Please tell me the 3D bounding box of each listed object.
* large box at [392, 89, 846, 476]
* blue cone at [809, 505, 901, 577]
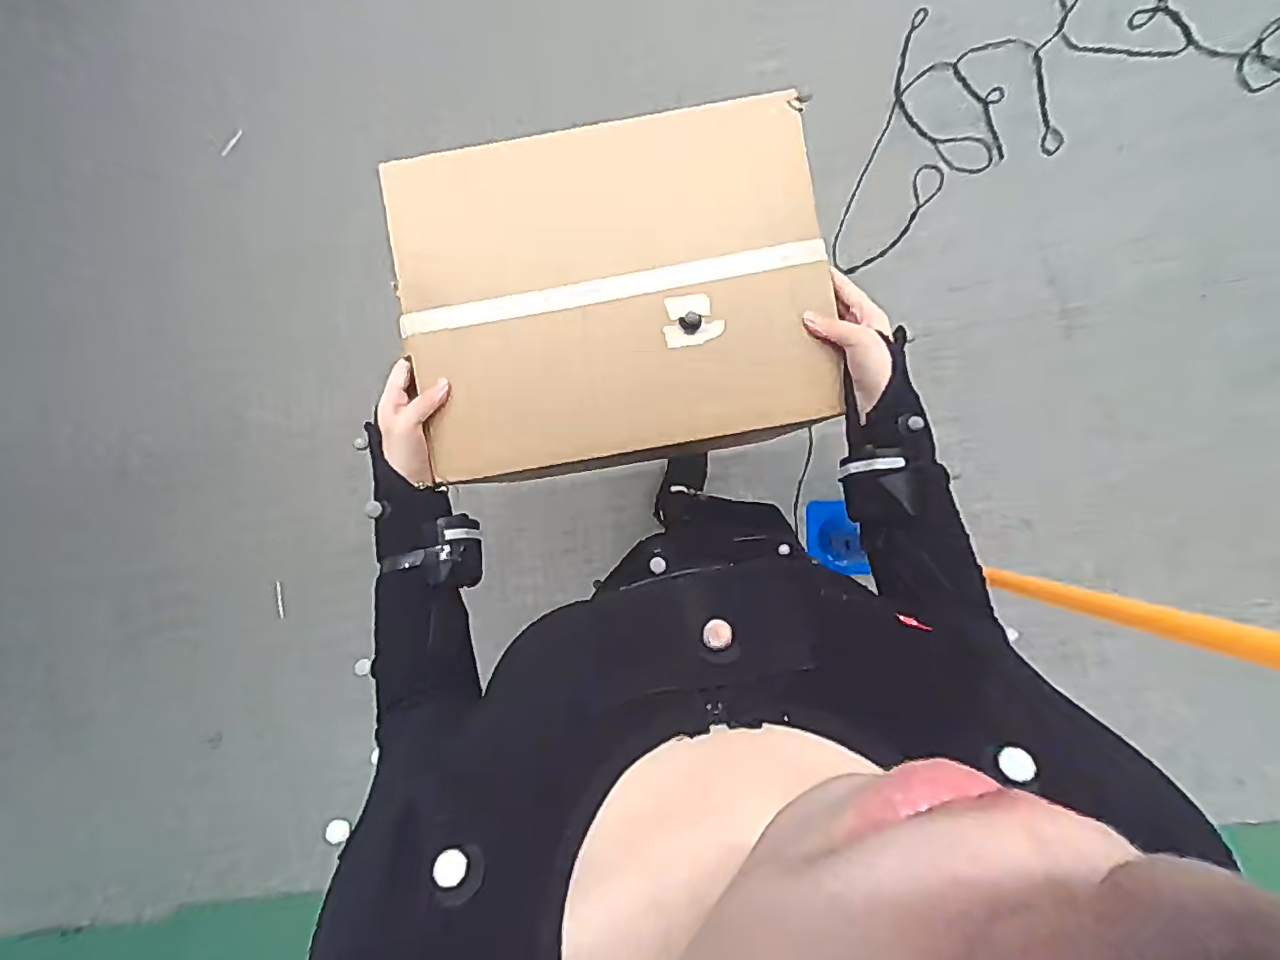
[{"bbox_3d":[-0.023,-0.192,0.669,0.408,0.320,0.320,-10,90,-1],"label":"large box"},{"bbox_3d":[0.531,0.161,1.278,0.193,0.380,0.192,-1,89,6],"label":"blue cone"}]
